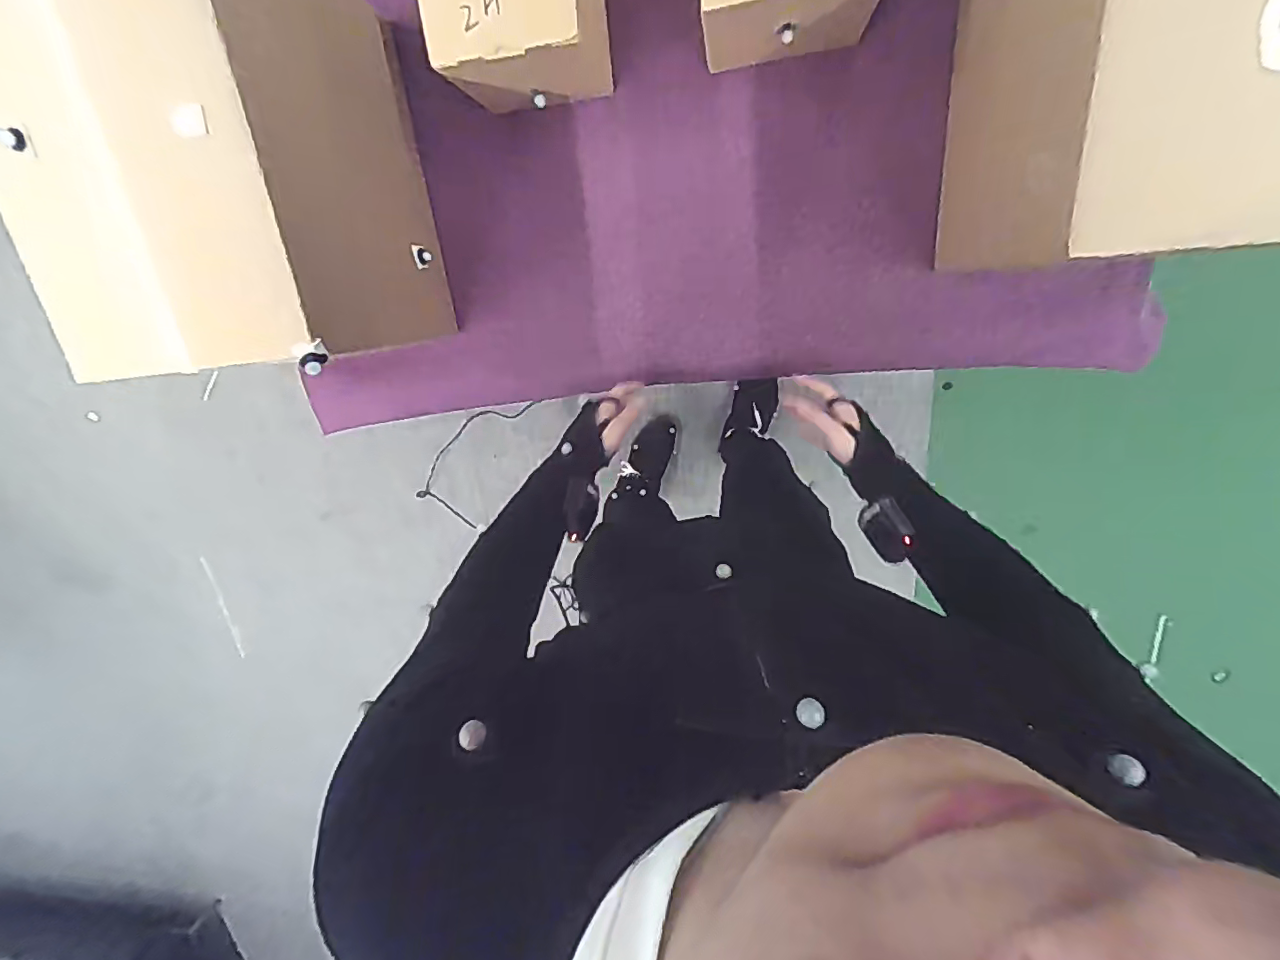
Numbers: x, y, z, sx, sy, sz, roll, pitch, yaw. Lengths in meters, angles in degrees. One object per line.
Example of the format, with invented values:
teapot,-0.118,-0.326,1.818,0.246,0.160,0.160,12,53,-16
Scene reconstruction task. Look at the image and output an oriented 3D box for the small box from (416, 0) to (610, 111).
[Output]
small box,-0.135,-0.543,0.597,0.168,0.176,0.179,-1,109,11
